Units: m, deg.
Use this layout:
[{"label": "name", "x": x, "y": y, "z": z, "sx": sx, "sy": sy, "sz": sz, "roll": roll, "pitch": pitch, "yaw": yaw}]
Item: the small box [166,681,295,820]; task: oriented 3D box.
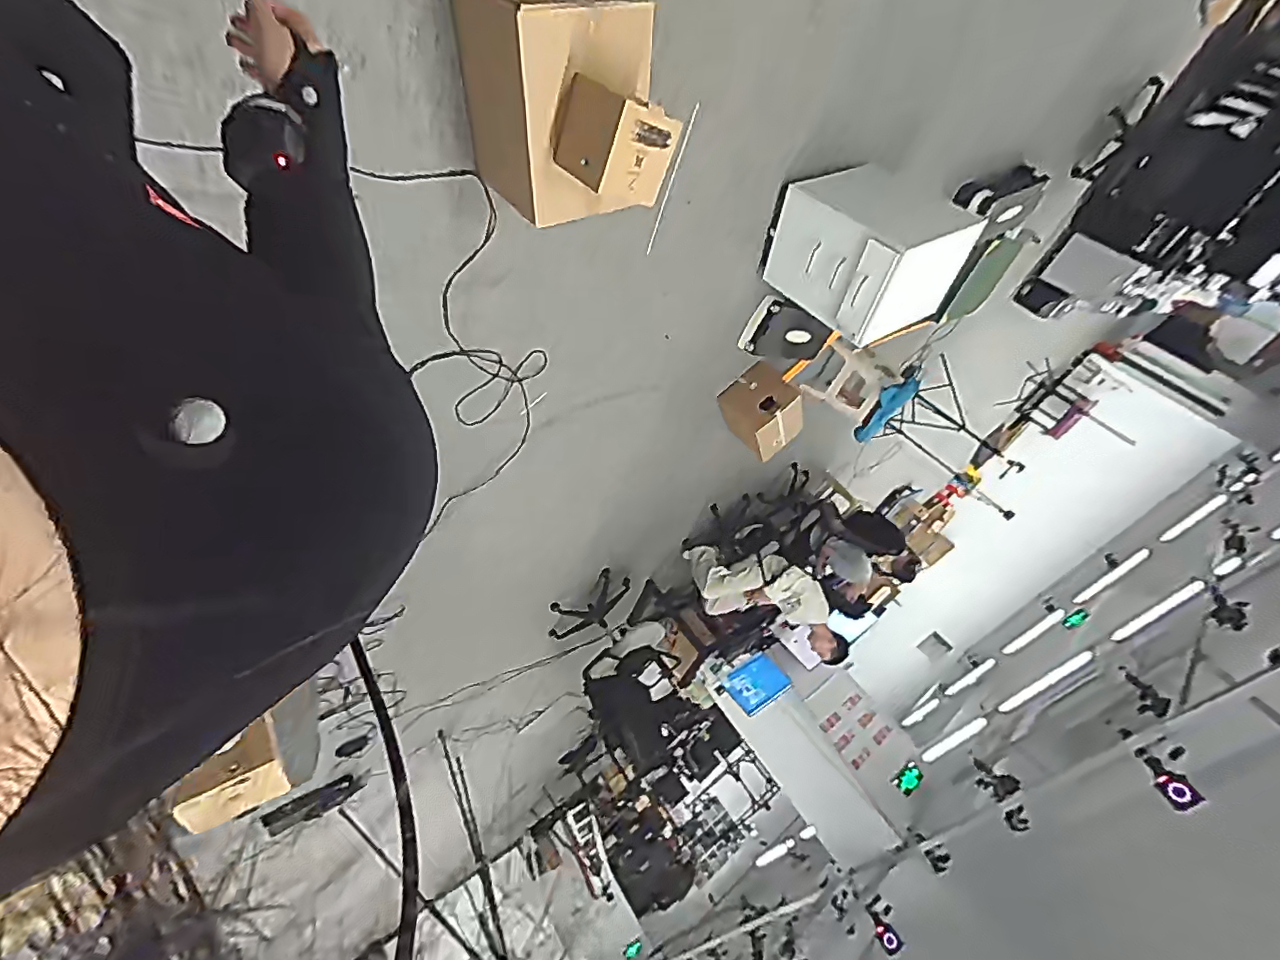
[{"label": "small box", "x": -0.828, "y": 0.543, "z": 1.101, "sx": 0.168, "sy": 0.176, "sz": 0.179, "roll": -19, "pitch": 145, "yaw": -35}]

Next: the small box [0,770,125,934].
[{"label": "small box", "x": -1.070, "y": 0.648, "z": 0.951, "sx": 0.179, "sy": 0.176, "sz": 0.168, "roll": -26, "pitch": 148, "yaw": -26}]
